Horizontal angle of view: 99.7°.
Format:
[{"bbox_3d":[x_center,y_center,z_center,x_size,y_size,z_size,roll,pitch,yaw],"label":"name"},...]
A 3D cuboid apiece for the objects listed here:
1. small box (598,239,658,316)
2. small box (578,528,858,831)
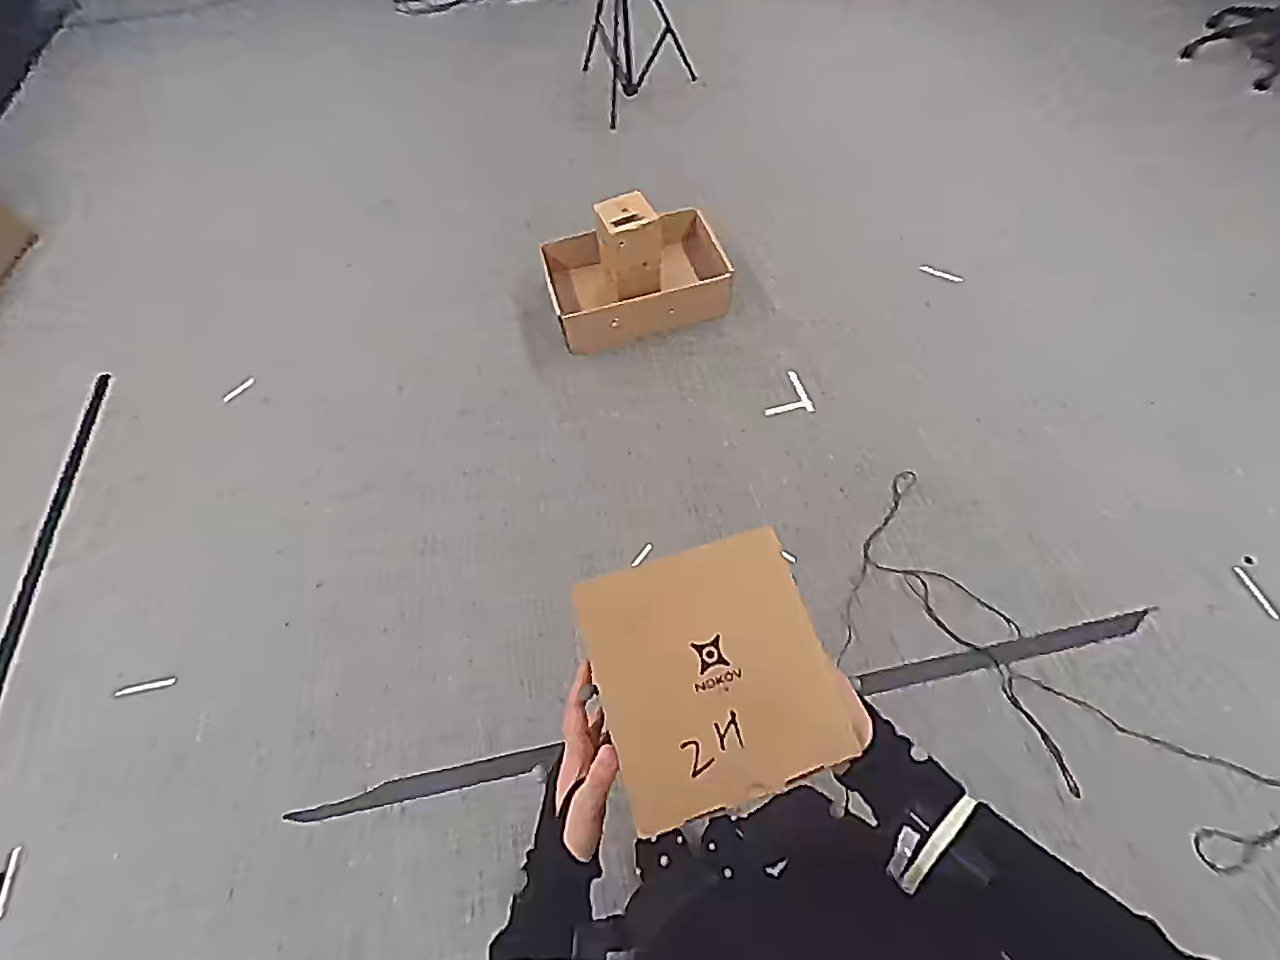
[{"bbox_3d":[-0.040,-0.723,1.940,0.168,0.176,0.179,-21,62,-7],"label":"small box"},{"bbox_3d":[0.046,0.163,0.467,0.168,0.176,0.179,-15,71,-10],"label":"small box"}]
